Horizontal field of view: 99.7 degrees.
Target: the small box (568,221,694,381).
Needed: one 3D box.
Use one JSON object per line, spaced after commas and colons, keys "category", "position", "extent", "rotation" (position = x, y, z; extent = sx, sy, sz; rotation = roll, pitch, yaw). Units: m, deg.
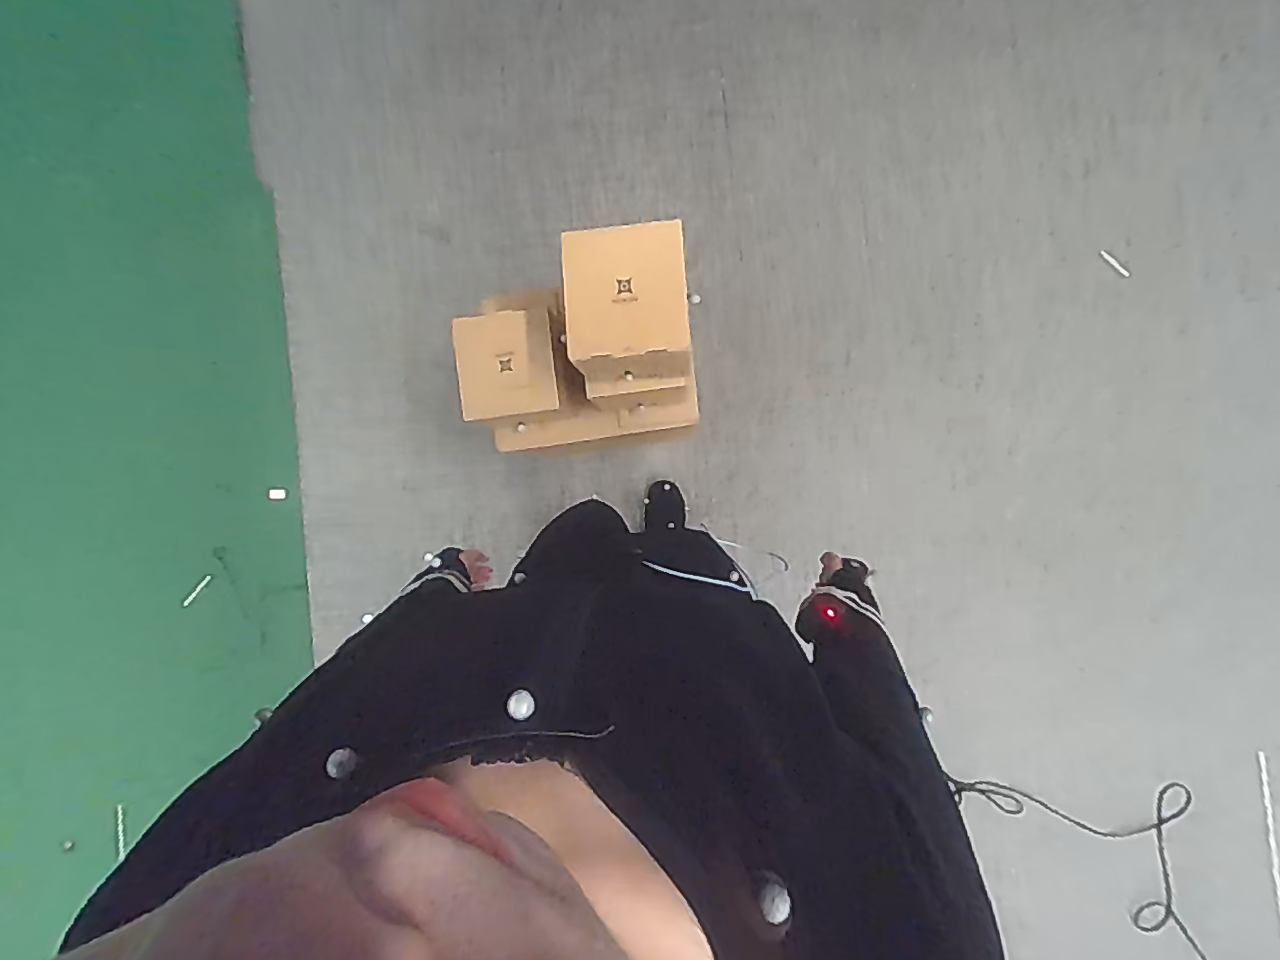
{"category": "small box", "position": [-0.008, -0.255, 0.805], "extent": [0.168, 0.176, 0.179], "rotation": [-3, 89, 5]}
